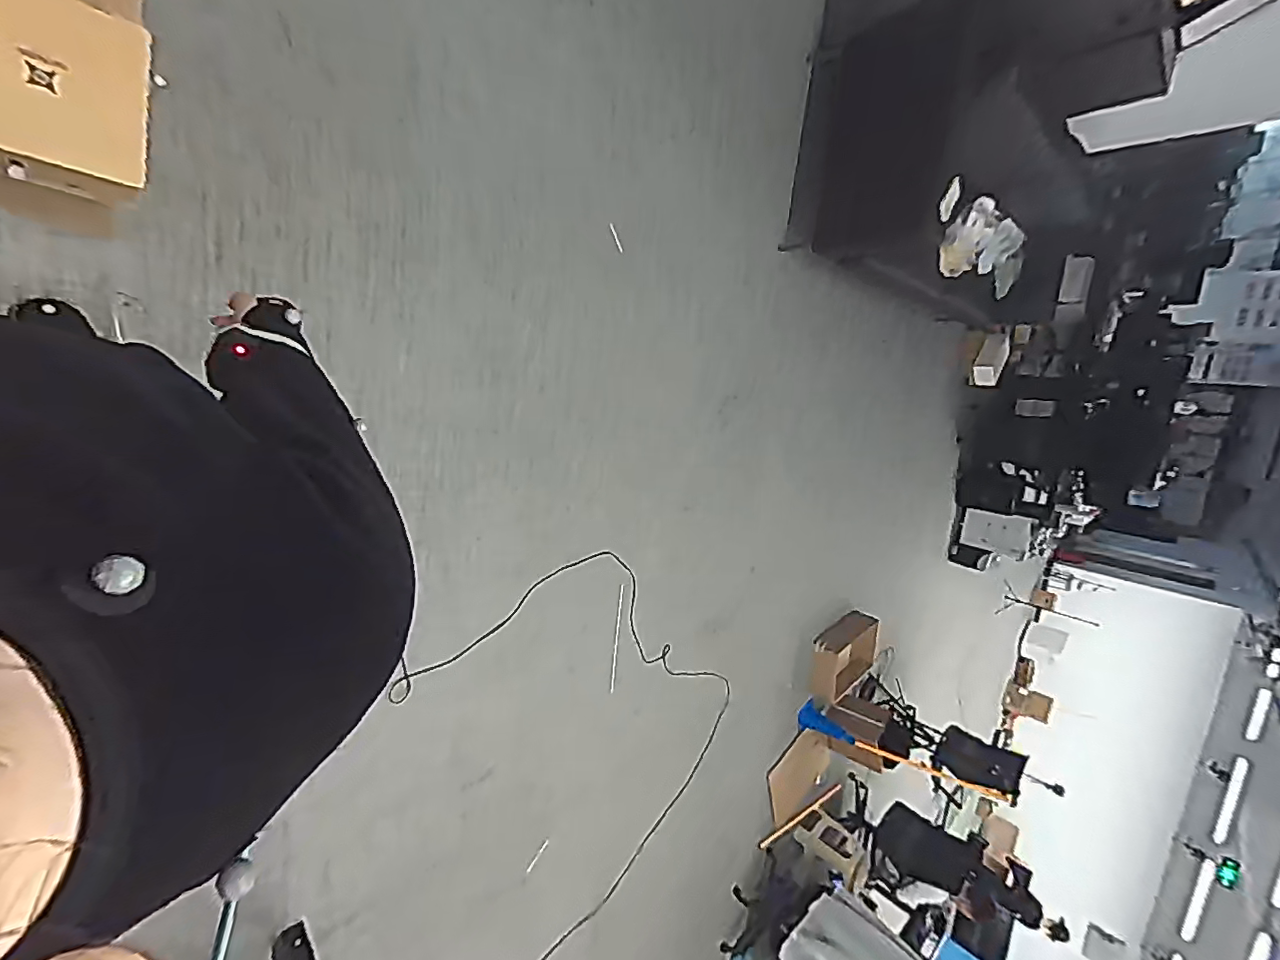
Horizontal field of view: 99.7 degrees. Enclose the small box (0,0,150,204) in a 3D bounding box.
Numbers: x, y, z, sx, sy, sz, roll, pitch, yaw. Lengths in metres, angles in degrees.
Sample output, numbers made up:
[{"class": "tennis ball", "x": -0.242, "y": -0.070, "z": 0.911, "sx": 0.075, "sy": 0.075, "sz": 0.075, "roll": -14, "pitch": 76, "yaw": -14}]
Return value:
[{"class": "small box", "x": -0.678, "y": -0.442, "z": 0.621, "sx": 0.168, "sy": 0.176, "sz": 0.179, "roll": 0, "pitch": 101, "yaw": -45}]
